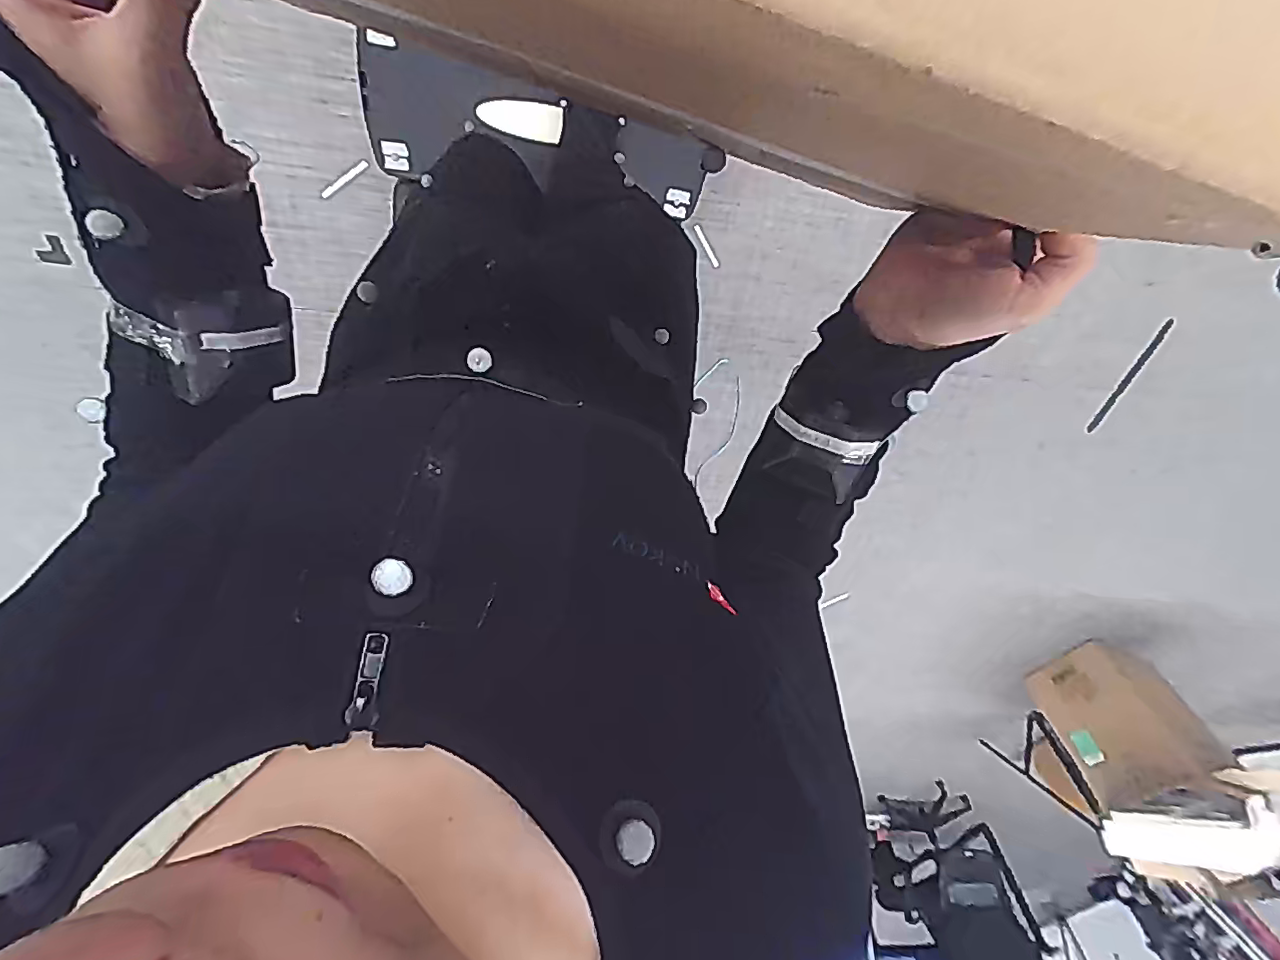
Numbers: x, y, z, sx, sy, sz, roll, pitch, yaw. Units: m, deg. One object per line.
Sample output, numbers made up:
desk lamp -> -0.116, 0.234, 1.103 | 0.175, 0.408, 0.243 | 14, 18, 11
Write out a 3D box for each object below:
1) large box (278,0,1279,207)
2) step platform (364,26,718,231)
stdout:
large box -> 0.010, -0.307, 0.155 | 0.408, 0.320, 0.320 | 12, 120, -8
step platform -> -0.179, -0.739, 1.098 | 0.684, 0.204, 0.286 | 8, 128, -11
